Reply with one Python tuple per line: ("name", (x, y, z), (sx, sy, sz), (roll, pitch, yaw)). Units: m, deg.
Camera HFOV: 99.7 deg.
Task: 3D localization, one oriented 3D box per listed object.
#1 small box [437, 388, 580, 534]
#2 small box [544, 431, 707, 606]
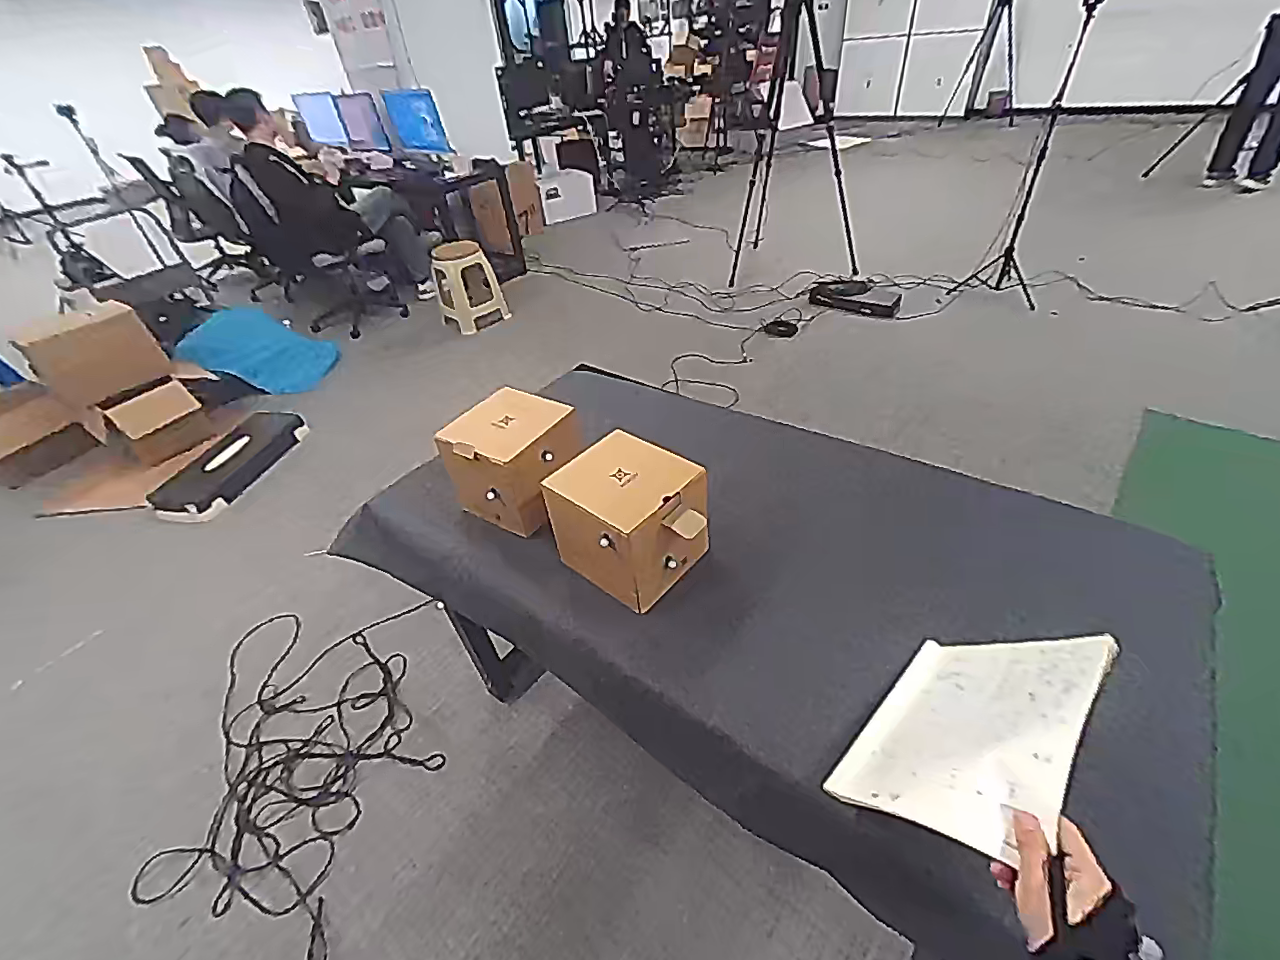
("small box", (-0.216, -0.034, 0.952), (0.168, 0.176, 0.179), (20, 45, 27))
("small box", (-0.016, 0.056, 0.814), (0.179, 0.176, 0.168), (27, 50, 33))
